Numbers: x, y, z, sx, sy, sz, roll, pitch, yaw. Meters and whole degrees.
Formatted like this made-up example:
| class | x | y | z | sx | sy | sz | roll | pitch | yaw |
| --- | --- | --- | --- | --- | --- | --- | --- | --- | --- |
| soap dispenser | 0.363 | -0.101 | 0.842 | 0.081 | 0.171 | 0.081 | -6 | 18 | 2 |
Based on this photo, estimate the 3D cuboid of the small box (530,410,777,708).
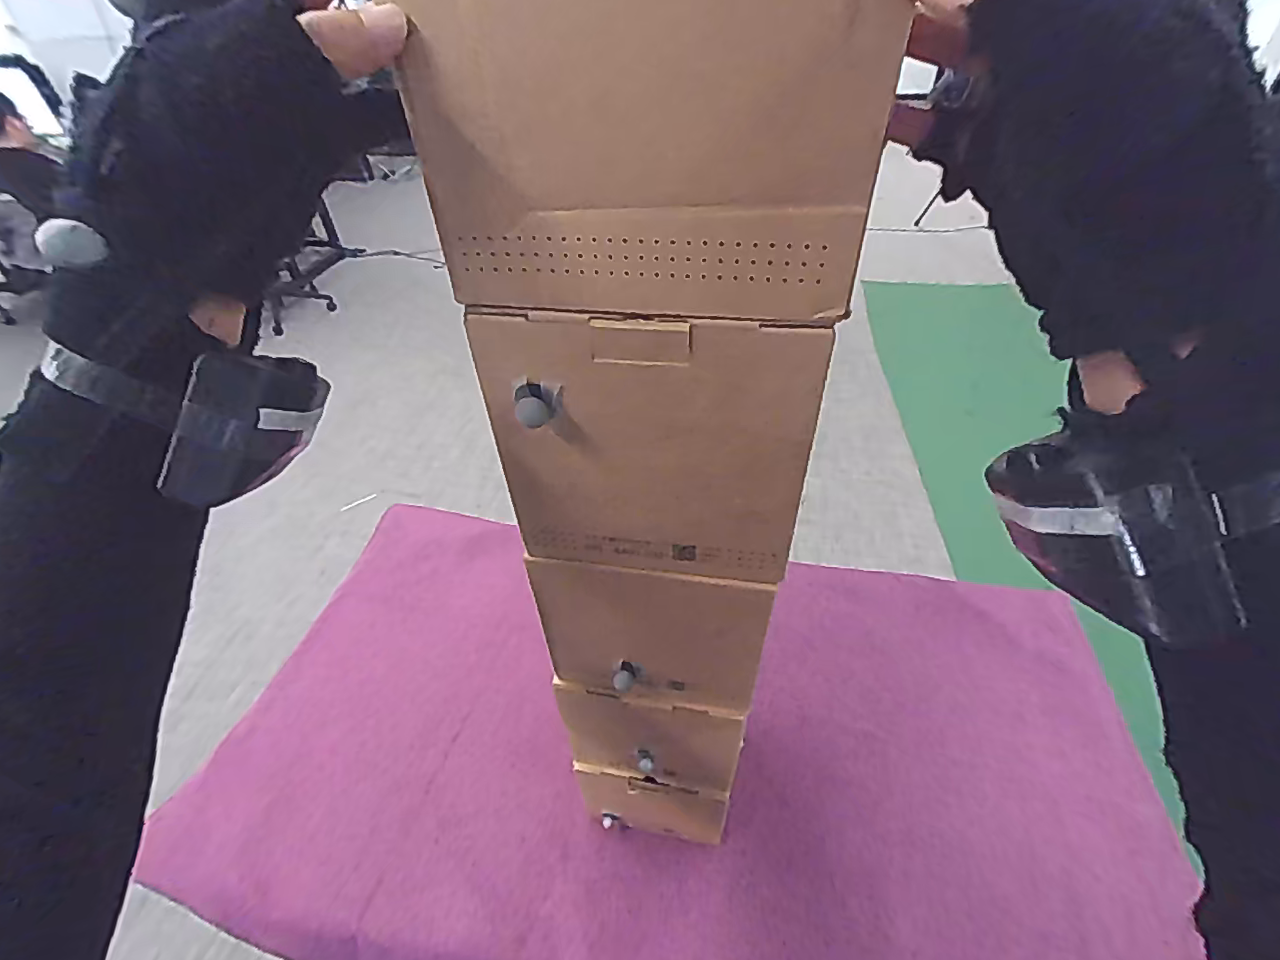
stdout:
| class | x | y | z | sx | sy | sz | roll | pitch | yaw |
| --- | --- | --- | --- | --- | --- | --- | --- | --- | --- |
| small box | 0.022 | 0.063 | 0.464 | 0.168 | 0.176 | 0.179 | 6 | 43 | 10 |

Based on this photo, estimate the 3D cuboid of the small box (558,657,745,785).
| class | x | y | z | sx | sy | sz | roll | pitch | yaw |
| --- | --- | --- | --- | --- | --- | --- | --- | --- | --- |
| small box | 0.024 | 0.187 | 0.570 | 0.168 | 0.176 | 0.179 | 6 | 43 | 10 |

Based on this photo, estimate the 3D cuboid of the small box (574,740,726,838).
| class | x | y | z | sx | sy | sz | roll | pitch | yaw |
| --- | --- | --- | --- | --- | --- | --- | --- | --- | --- |
| small box | 0.029 | 0.314 | 0.674 | 0.168 | 0.176 | 0.179 | 7 | 42 | 10 |

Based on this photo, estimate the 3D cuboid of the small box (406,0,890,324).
| class | x | y | z | sx | sy | sz | roll | pitch | yaw |
| --- | --- | --- | --- | --- | --- | --- | --- | --- | --- |
| small box | 0.010 | -0.185 | 0.252 | 0.179 | 0.176 | 0.168 | 6 | 41 | 9 |
